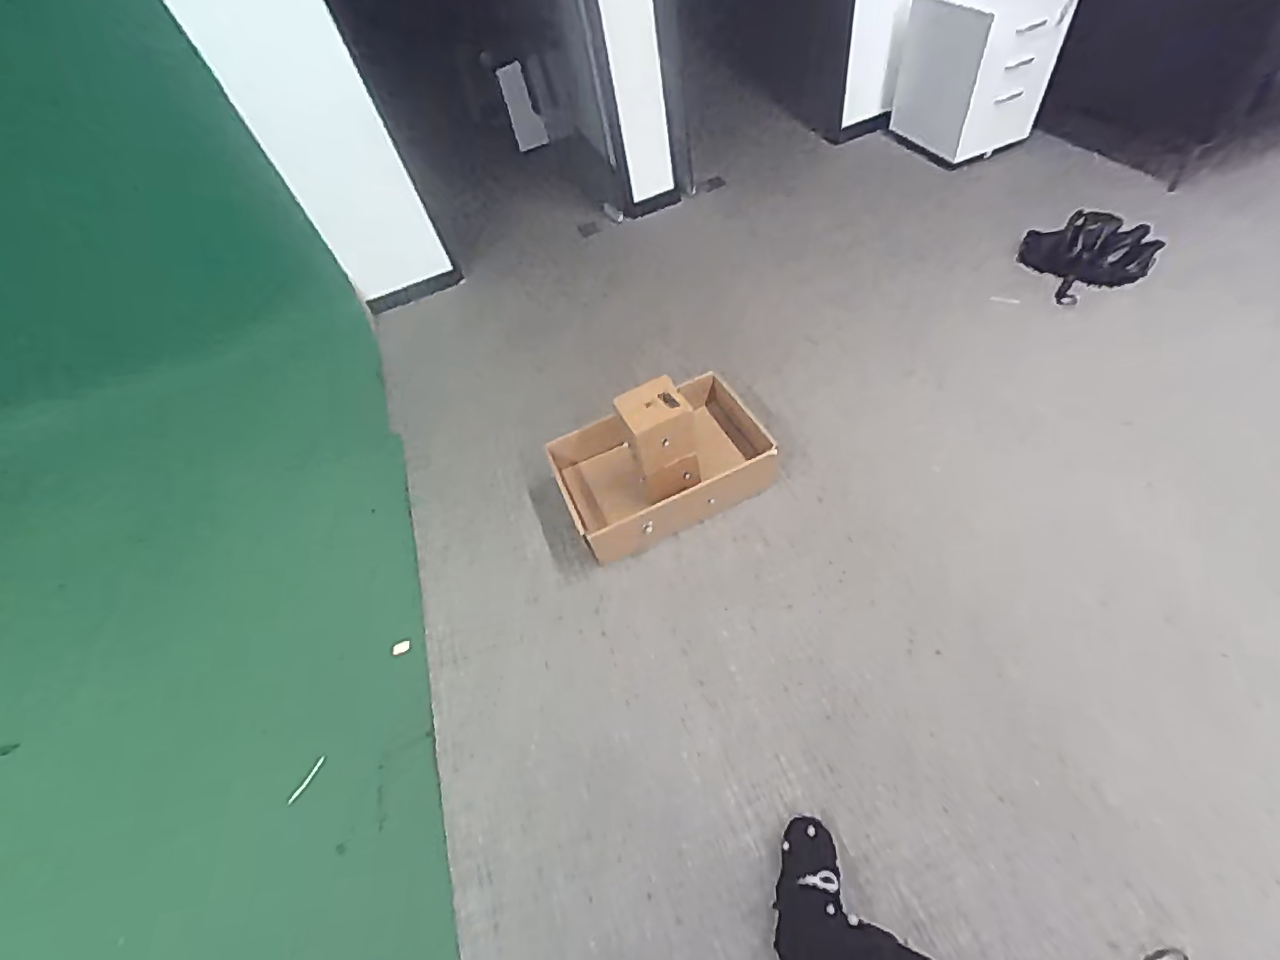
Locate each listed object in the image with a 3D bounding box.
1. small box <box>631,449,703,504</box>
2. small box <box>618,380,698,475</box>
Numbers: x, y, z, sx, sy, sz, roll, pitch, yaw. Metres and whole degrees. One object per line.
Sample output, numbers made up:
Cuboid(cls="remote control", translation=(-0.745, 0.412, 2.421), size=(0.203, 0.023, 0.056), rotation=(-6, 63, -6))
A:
Cuboid(cls="small box", translation=(0.084, -0.046, 1.664), size=(0.168, 0.176, 0.179), rotation=(-22, 50, -6))
Cuboid(cls="small box", translation=(0.056, -0.146, 1.536), size=(0.179, 0.176, 0.168), rotation=(-24, 52, -6))
